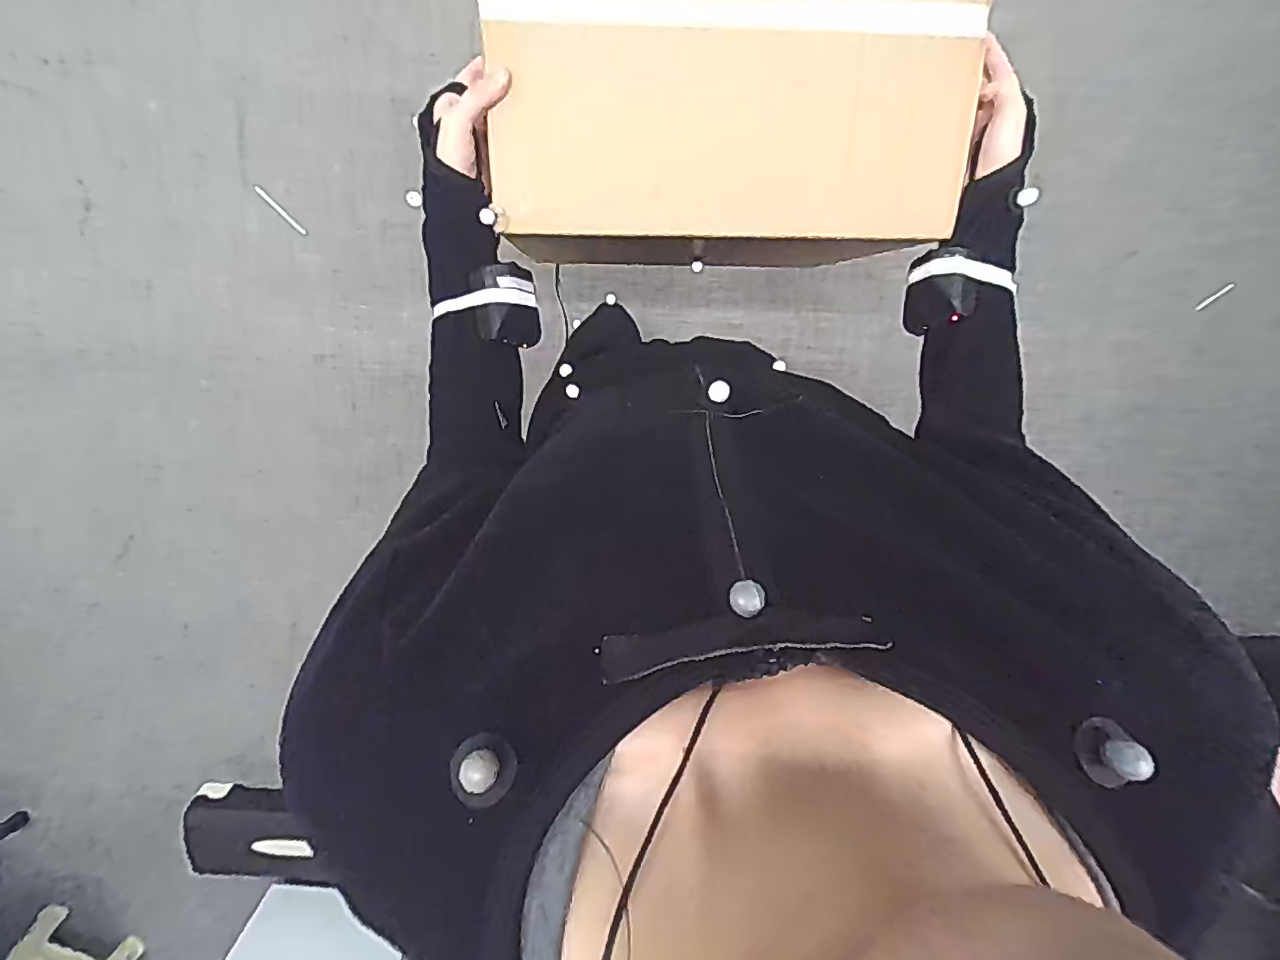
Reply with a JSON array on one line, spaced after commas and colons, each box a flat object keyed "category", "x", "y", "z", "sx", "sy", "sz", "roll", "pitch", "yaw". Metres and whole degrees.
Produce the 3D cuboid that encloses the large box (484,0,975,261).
[{"category": "large box", "x": 0.069, "y": -0.412, "z": 0.581, "sx": 0.408, "sy": 0.320, "sz": 0.320, "roll": -1, "pitch": 106, "yaw": -3}]
